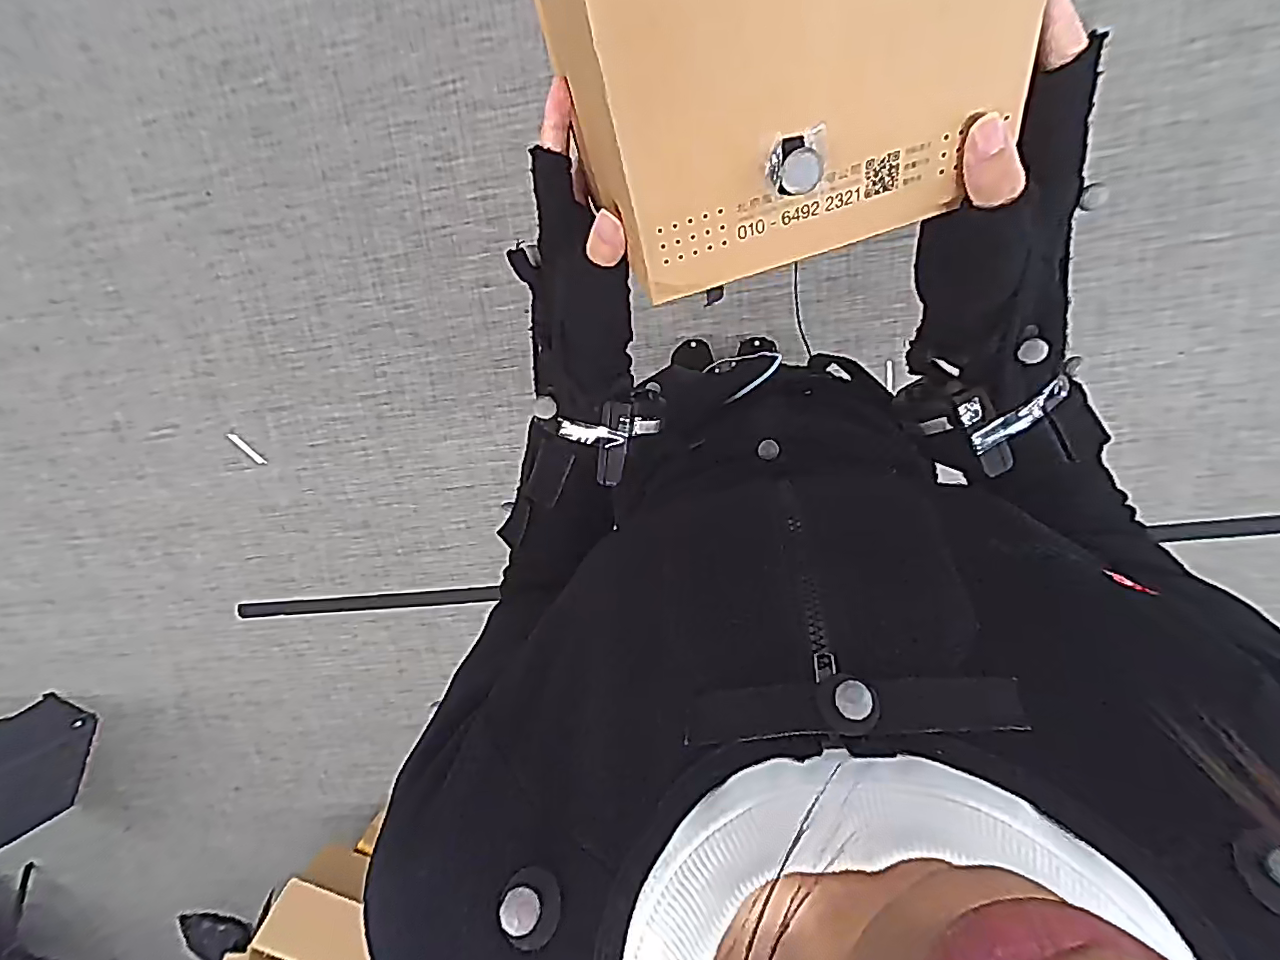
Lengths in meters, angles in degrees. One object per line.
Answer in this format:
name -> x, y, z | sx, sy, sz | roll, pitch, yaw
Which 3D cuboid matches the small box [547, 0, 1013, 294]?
small box -> 0.048, -0.216, 0.264 | 0.168, 0.179, 0.176 | -18, 132, 0
